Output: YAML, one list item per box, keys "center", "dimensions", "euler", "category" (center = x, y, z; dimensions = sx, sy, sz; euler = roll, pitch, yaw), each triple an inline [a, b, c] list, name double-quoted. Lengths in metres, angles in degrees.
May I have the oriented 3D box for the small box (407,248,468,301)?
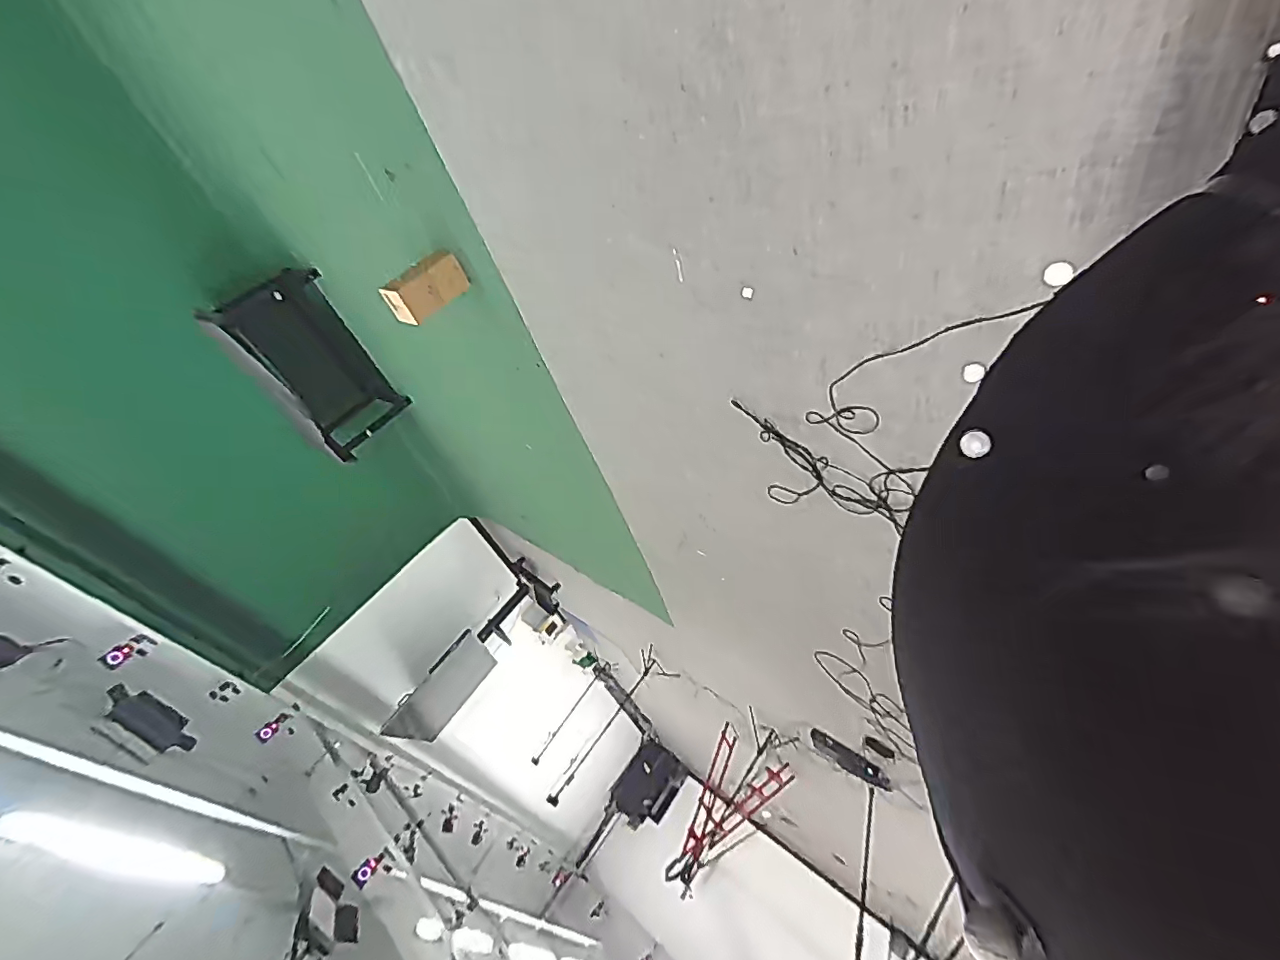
- center: [-0.919, -0.945, 2.479]
  dimensions: [0.179, 0.176, 0.168]
  euler: [22, 150, 38]
  category: "small box"
